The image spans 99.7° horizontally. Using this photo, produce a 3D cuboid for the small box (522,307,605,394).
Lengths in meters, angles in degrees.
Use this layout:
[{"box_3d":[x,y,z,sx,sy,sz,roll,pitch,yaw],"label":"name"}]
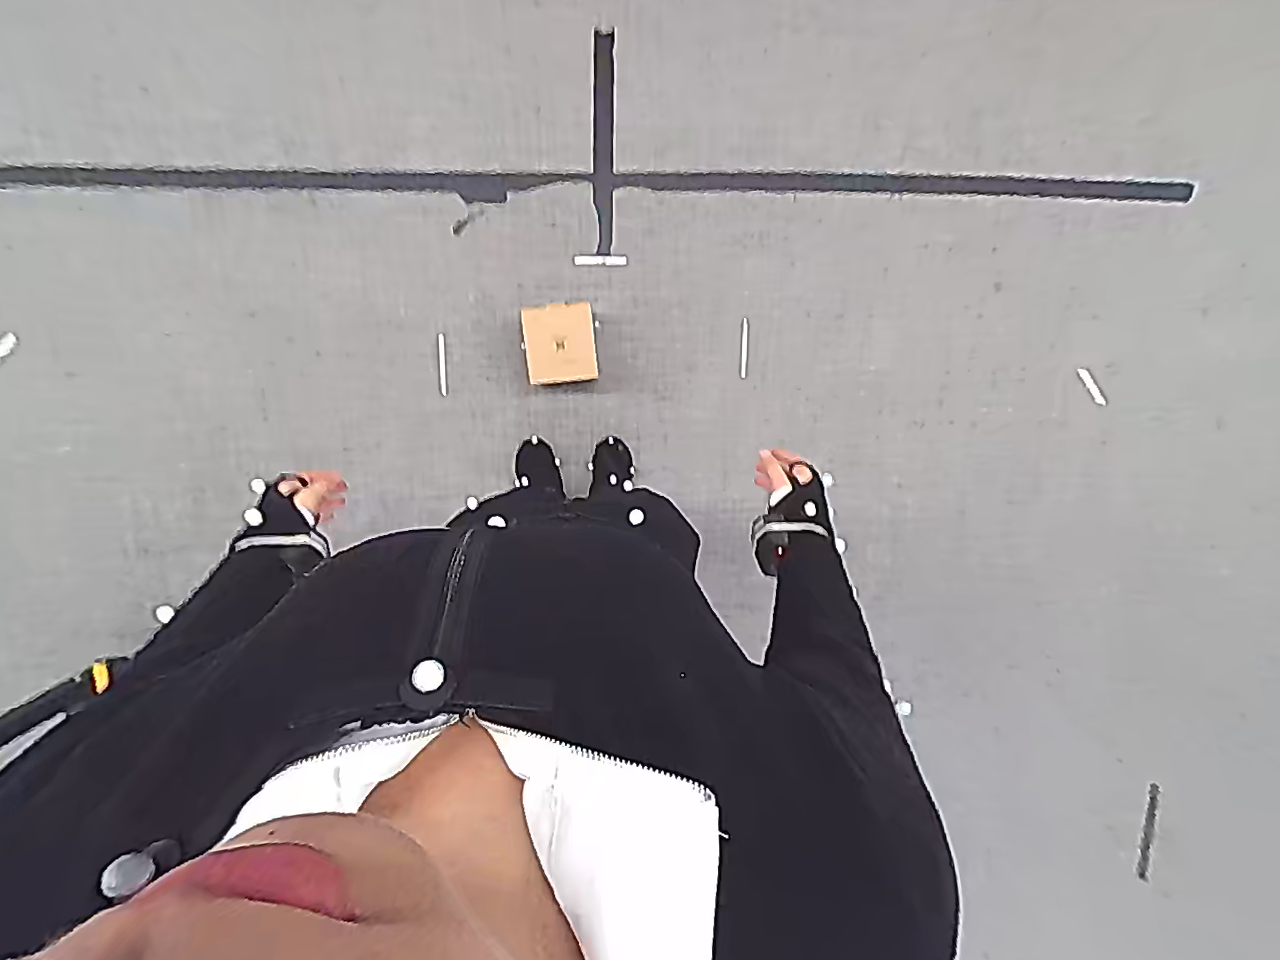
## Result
[{"box_3d":[-0.174,-0.298,1.268,0.168,0.176,0.179,-7,101,-2],"label":"small box"}]
